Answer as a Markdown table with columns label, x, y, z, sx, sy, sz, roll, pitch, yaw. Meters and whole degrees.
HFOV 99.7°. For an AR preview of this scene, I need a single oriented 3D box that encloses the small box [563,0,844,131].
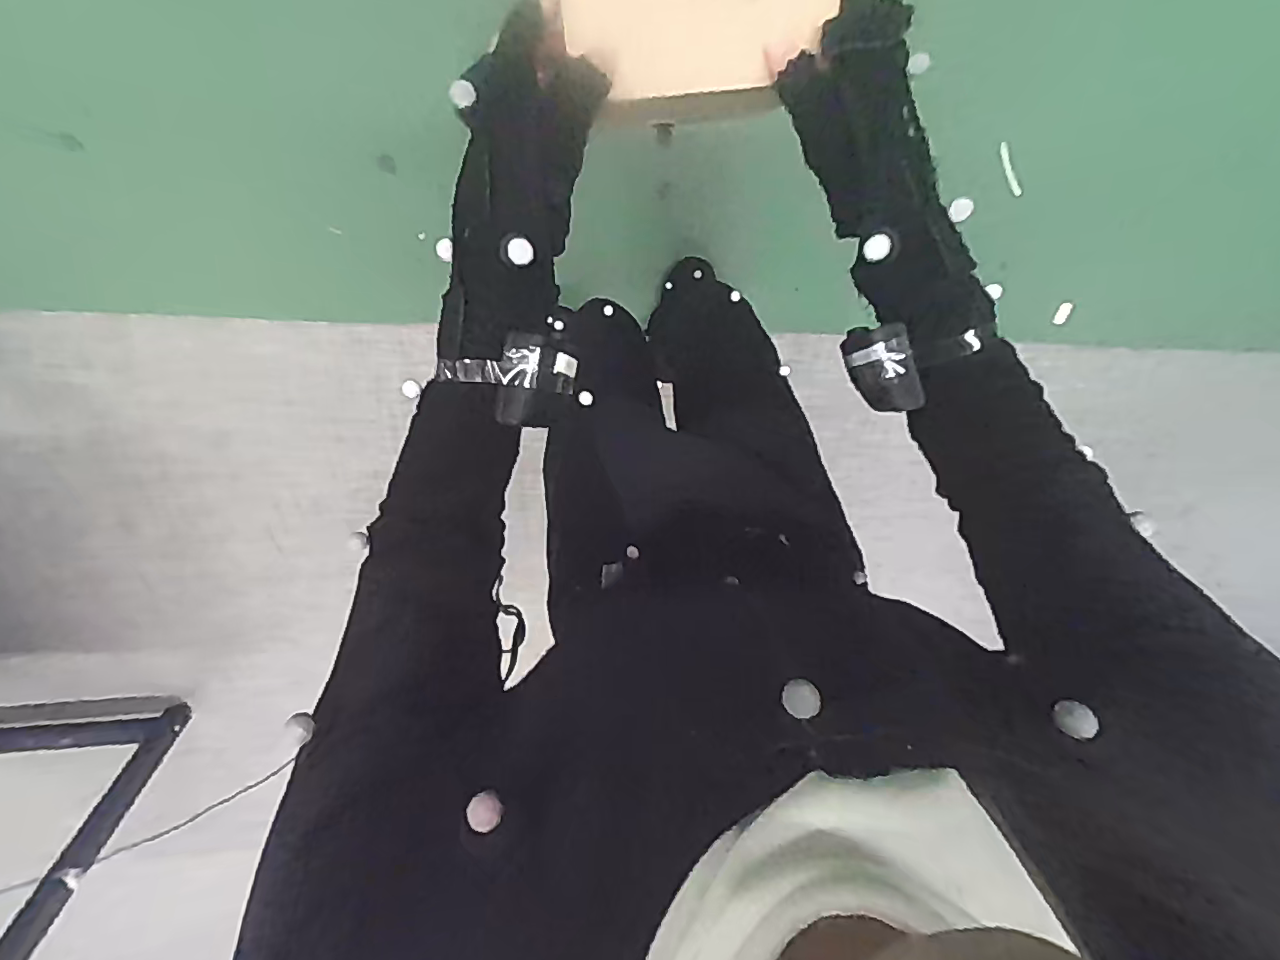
| label | x | y | z | sx | sy | sz | roll | pitch | yaw |
| --- | --- | --- | --- | --- | --- | --- | --- | --- | --- |
| small box | 0.029 | -0.351 | 0.362 | 0.168 | 0.176 | 0.179 | -6 | 119 | 0 |
